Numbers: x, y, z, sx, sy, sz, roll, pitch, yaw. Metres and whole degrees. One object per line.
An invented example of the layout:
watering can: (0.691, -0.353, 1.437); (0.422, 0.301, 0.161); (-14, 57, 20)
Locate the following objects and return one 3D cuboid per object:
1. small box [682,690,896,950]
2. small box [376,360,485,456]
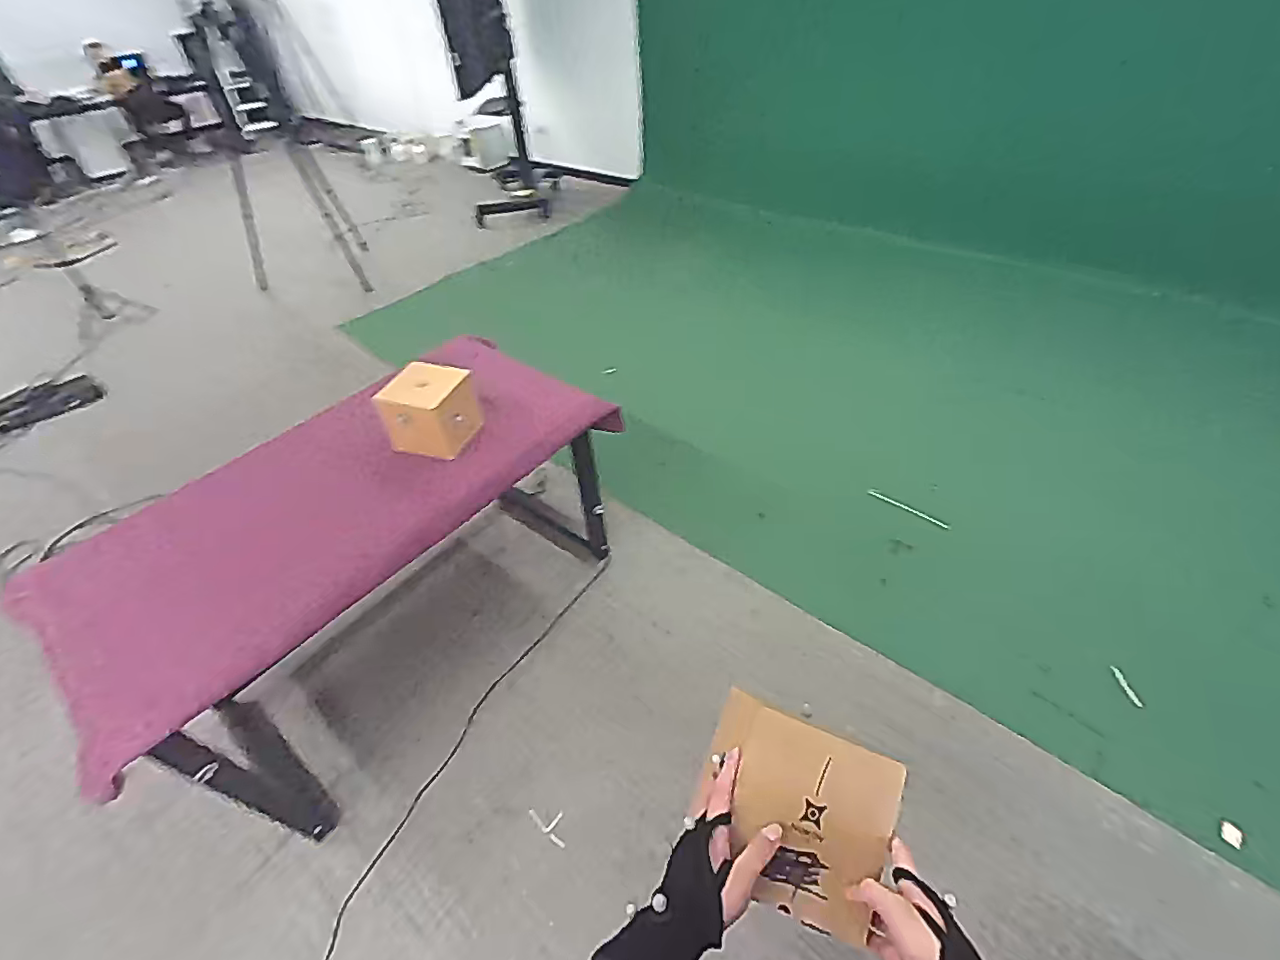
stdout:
small box: (0.155, 0.364, 0.620); (0.168, 0.176, 0.179); (22, 75, 3)
small box: (-0.523, -0.182, 1.381); (0.179, 0.176, 0.168); (11, 47, 16)
